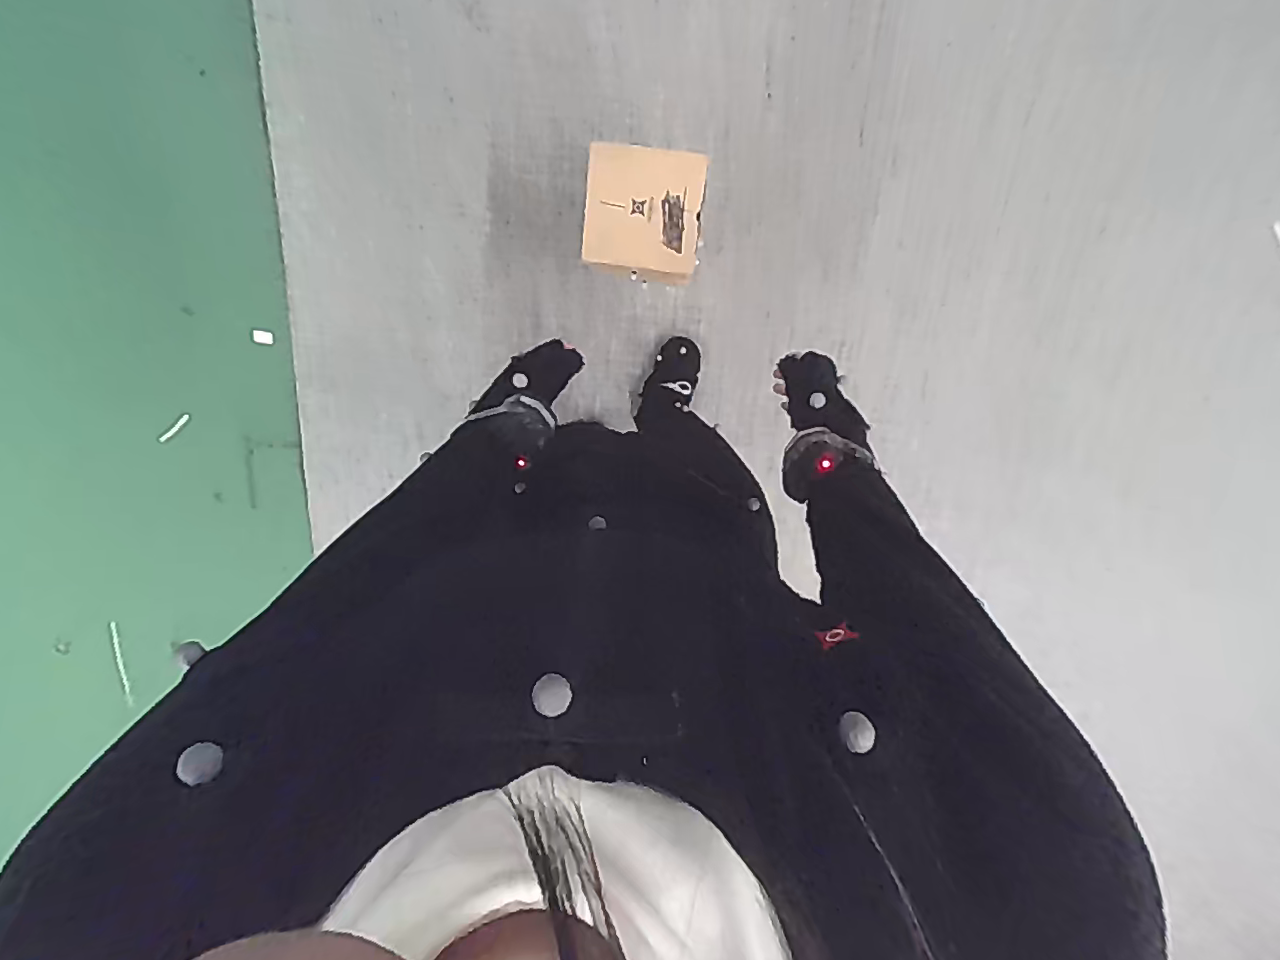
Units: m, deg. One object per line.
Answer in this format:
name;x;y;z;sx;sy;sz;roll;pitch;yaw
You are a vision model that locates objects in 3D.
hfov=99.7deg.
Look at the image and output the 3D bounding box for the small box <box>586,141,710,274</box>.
small box;0.010;-0.432;0.883;0.179;0.176;0.168;5;108;0
